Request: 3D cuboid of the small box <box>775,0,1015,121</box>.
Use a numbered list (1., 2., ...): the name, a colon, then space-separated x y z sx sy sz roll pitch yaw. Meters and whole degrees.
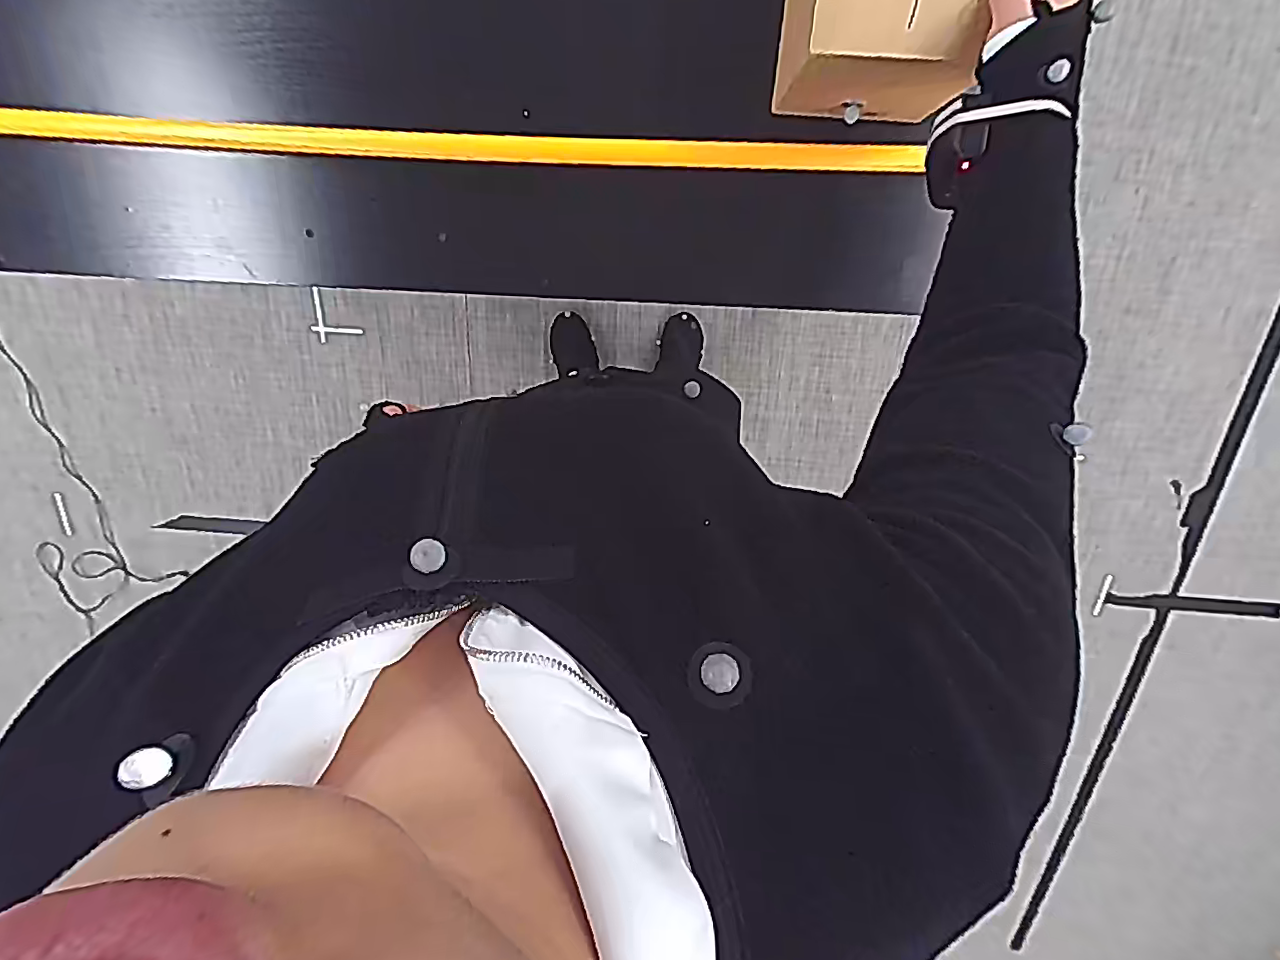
1. small box: 0.232 -0.467 0.506 0.168 0.176 0.179 5 110 1
